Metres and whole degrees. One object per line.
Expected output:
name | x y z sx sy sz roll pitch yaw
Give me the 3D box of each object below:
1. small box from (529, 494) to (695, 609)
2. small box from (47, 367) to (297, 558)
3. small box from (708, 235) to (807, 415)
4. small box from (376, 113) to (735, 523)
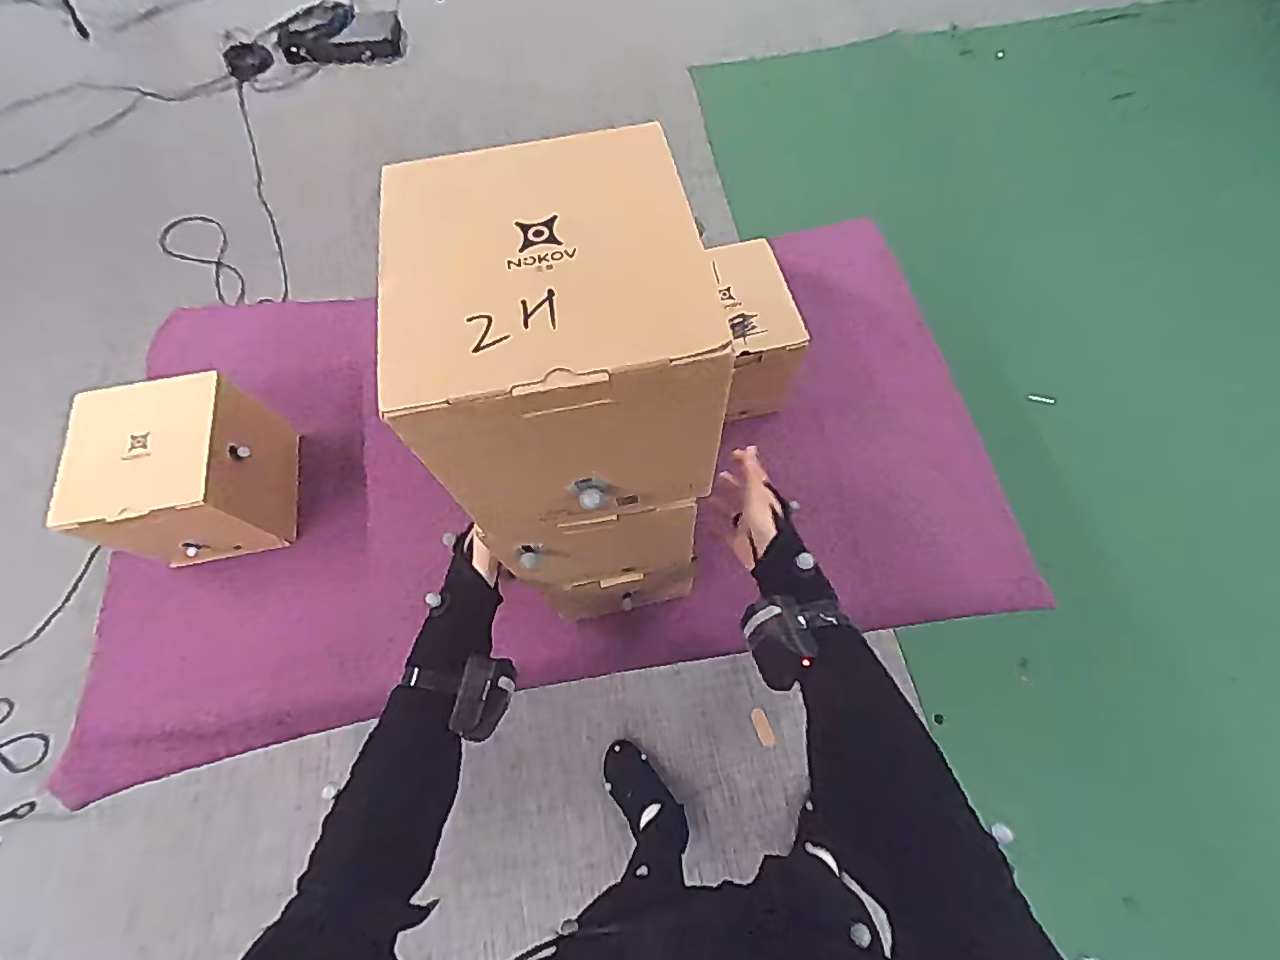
small box | -0.037 0.049 0.649 0.168 0.176 0.179 -12 67 -4
small box | -0.567 -0.015 0.687 0.168 0.176 0.179 -10 69 -4
small box | 0.109 -0.198 0.748 0.168 0.176 0.179 -13 67 -4
small box | -0.048 -0.092 0.350 0.168 0.176 0.179 -11 65 -2
